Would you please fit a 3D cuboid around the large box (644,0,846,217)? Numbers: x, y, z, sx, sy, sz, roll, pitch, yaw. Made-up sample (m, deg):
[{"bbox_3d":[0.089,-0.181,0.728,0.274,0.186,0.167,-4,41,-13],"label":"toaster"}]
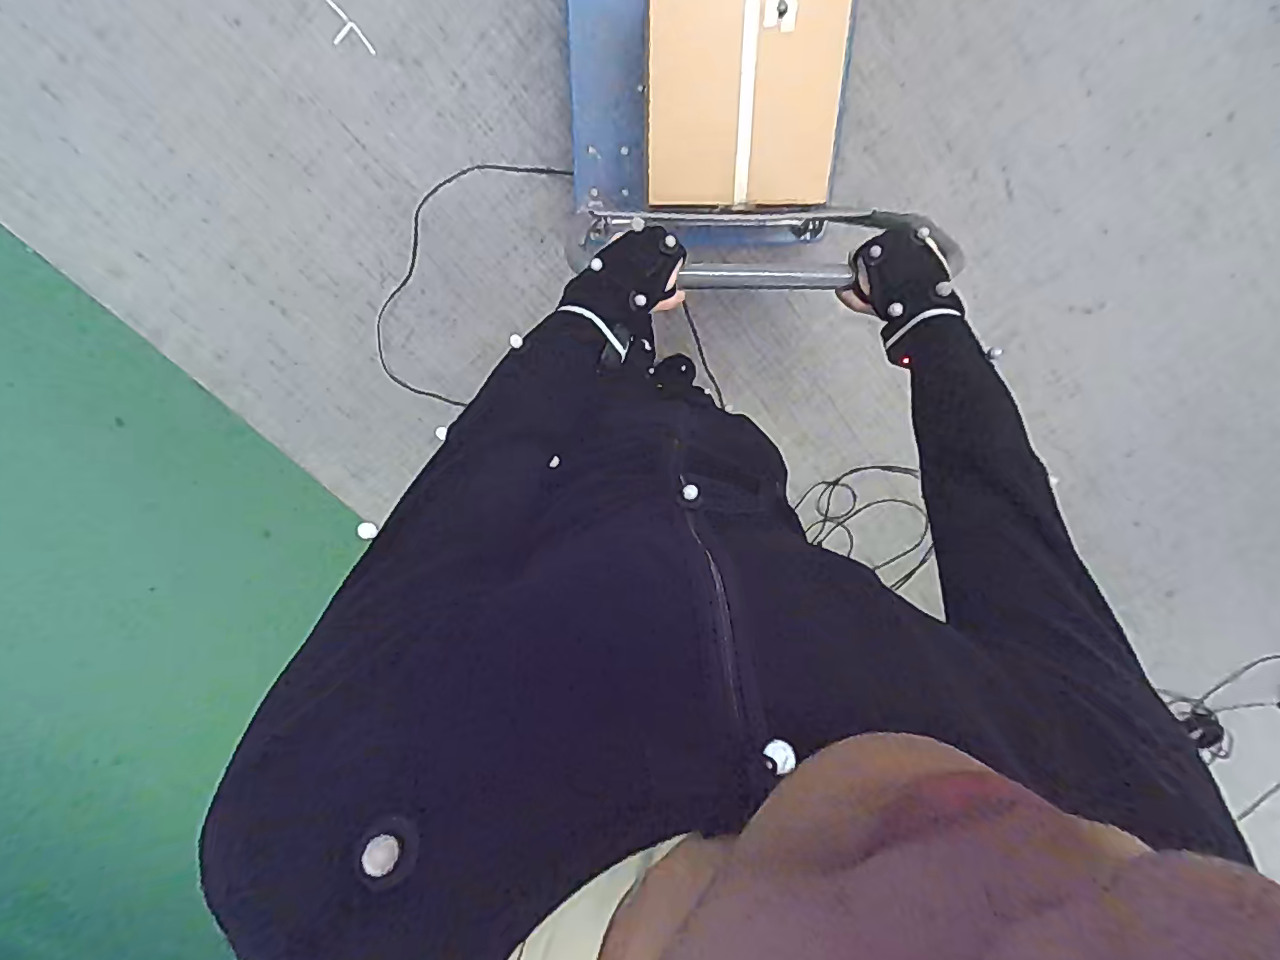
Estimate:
[{"bbox_3d":[0.165,-0.720,1.004,0.320,0.320,0.408,-1,114,-2],"label":"large box"}]
